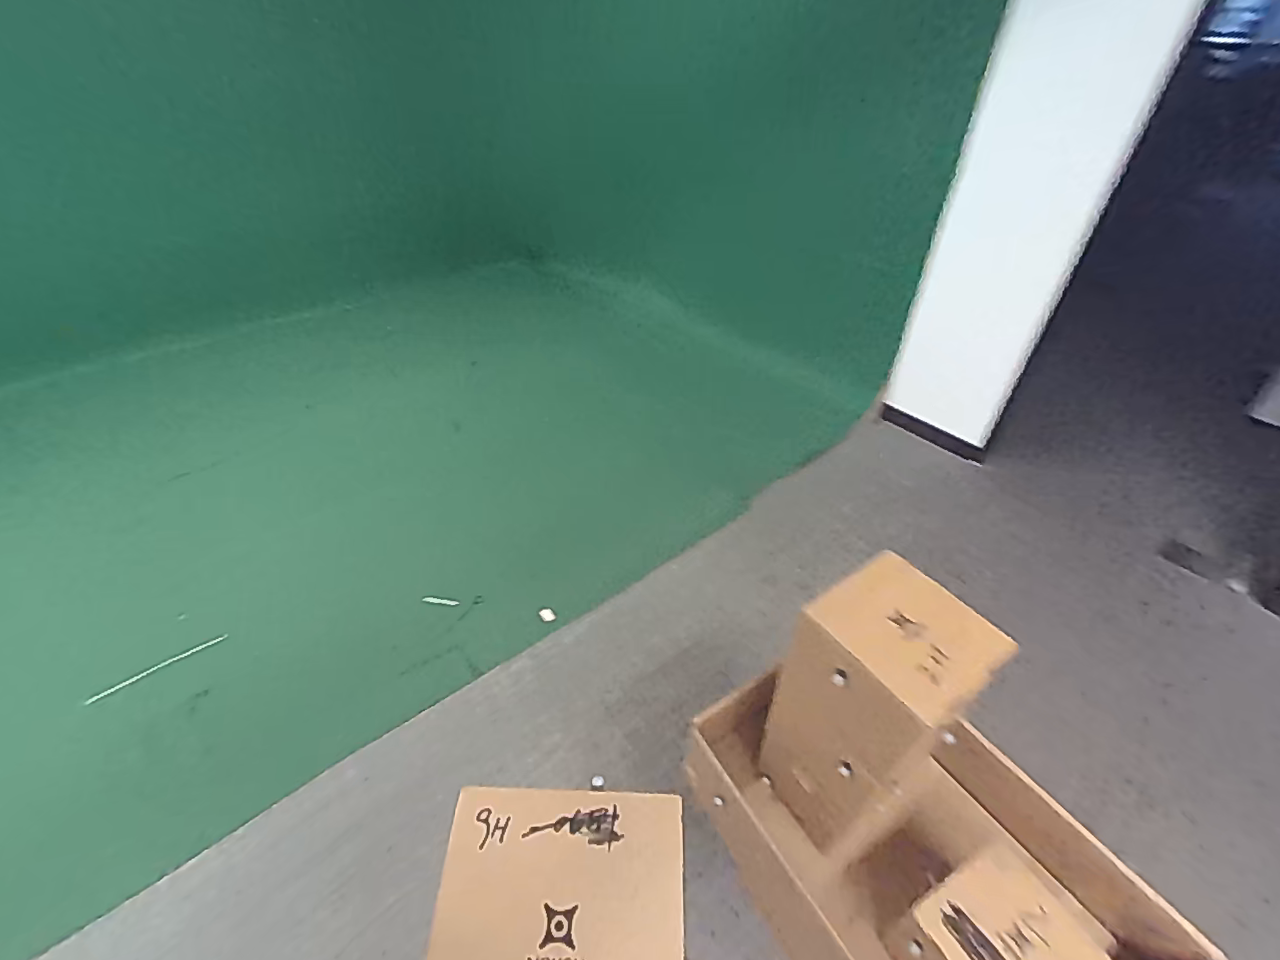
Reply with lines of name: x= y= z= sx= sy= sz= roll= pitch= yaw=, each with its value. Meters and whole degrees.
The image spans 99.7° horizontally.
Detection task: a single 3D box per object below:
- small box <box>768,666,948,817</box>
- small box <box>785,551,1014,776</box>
small box: x=0.312 y=0.350 z=0.798 sx=0.168 sy=0.176 sz=0.179 roll=-24 pitch=48 yaw=-23
small box: x=0.309 y=0.230 z=0.684 sx=0.168 sy=0.176 sz=0.179 roll=-25 pitch=48 yaw=-23
